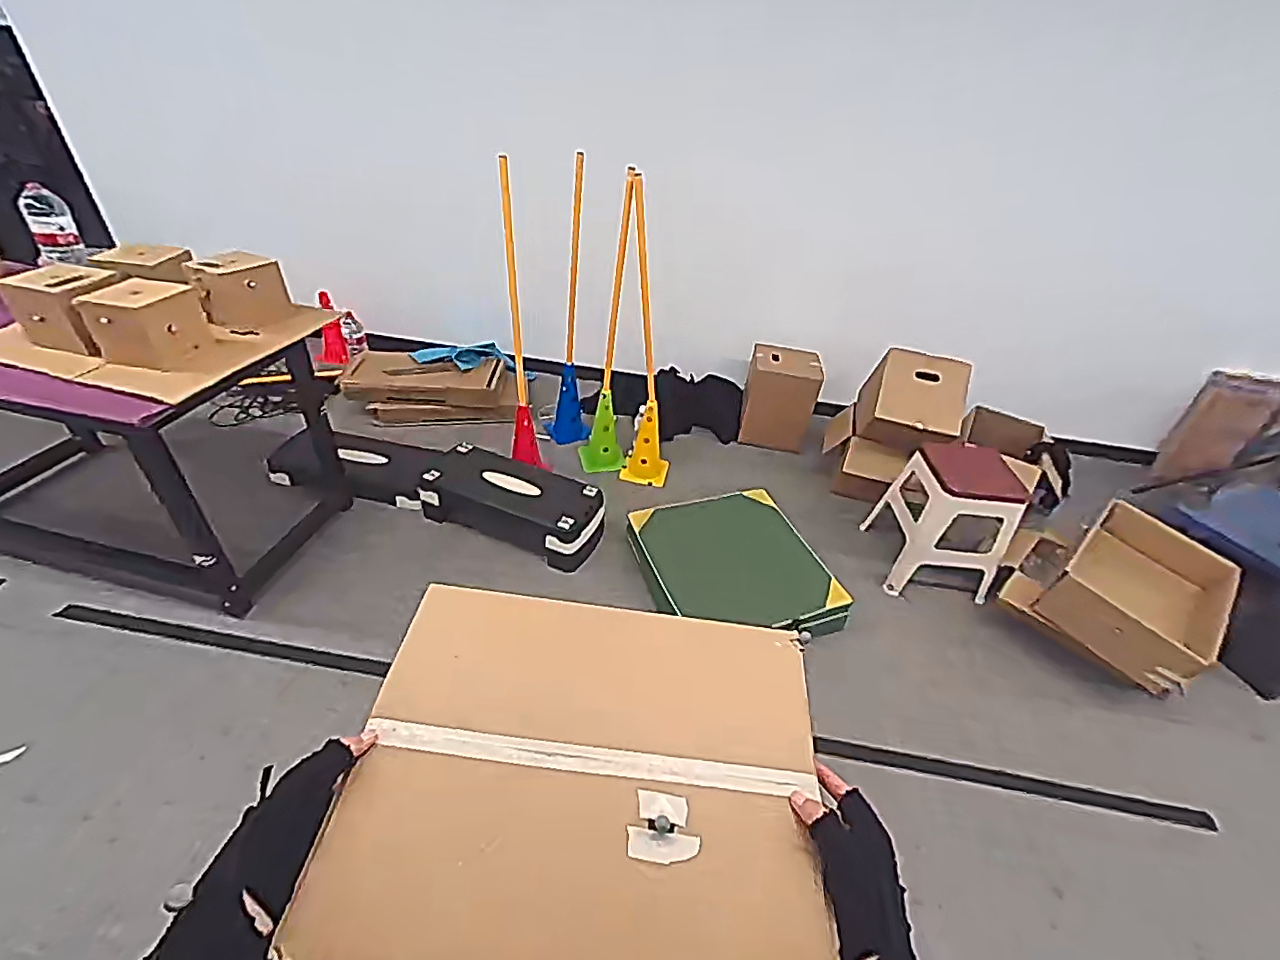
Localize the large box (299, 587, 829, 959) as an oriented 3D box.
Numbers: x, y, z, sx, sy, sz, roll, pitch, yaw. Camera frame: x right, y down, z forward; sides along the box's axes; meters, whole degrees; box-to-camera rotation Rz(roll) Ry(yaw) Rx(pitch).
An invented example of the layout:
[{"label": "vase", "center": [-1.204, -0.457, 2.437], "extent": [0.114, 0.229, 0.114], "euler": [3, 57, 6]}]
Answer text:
[{"label": "large box", "center": [-0.057, 0.355, 0.604], "extent": [0.408, 0.320, 0.320], "euler": [8, 46, 0]}]
